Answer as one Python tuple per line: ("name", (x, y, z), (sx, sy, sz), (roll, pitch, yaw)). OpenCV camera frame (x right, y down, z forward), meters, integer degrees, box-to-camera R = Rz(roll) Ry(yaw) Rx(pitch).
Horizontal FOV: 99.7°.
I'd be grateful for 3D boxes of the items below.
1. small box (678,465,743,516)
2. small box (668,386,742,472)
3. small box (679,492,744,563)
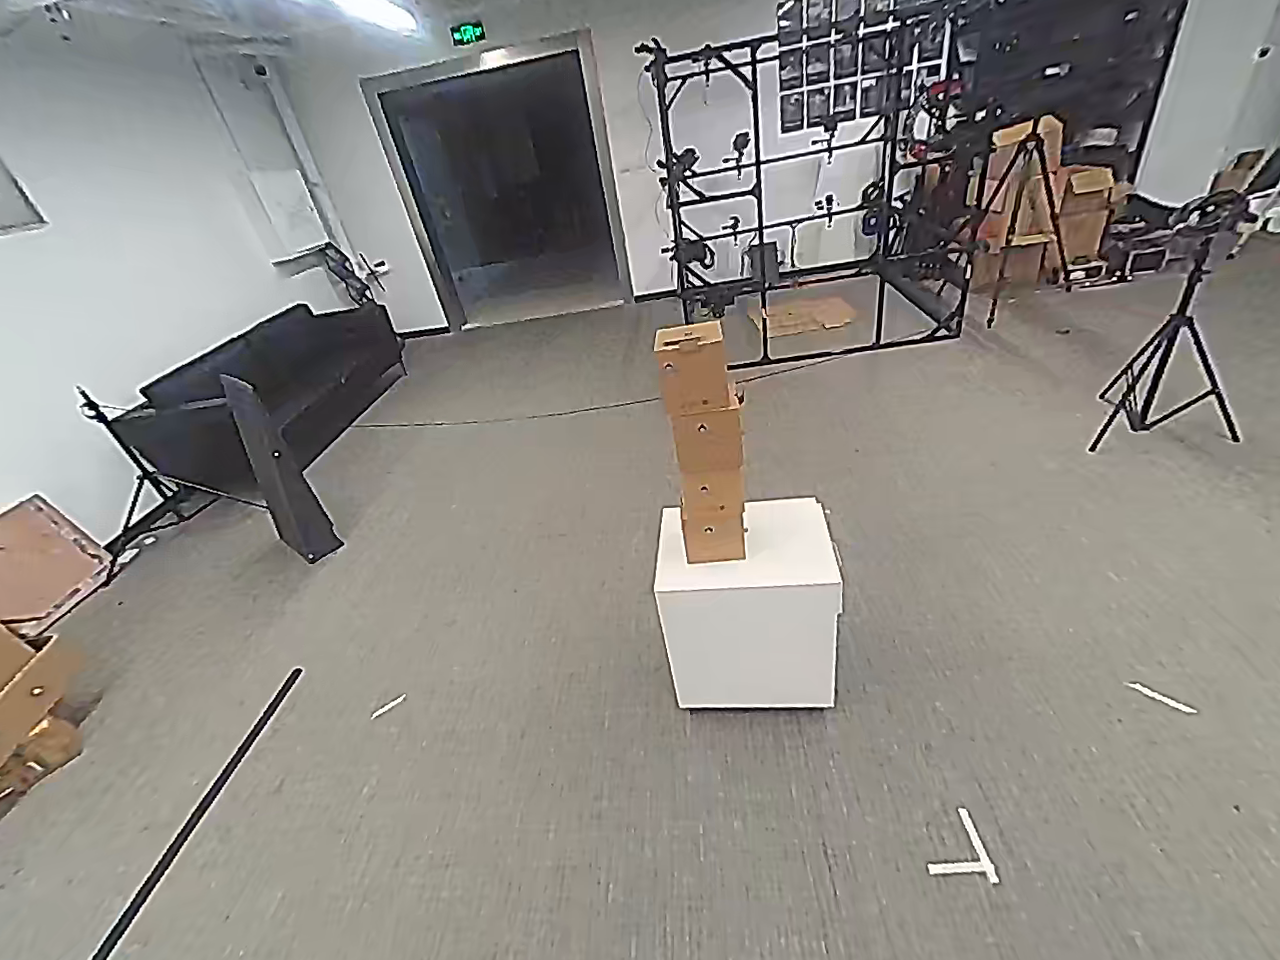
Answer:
("small box", (0.203, -0.007, 1.550), (0.168, 0.176, 0.179), (-6, 32, 9))
("small box", (0.175, -0.134, 1.447), (0.179, 0.176, 0.168), (-6, 33, 9))
("small box", (0.215, 0.136, 1.626), (0.179, 0.176, 0.168), (-5, 33, 8))
